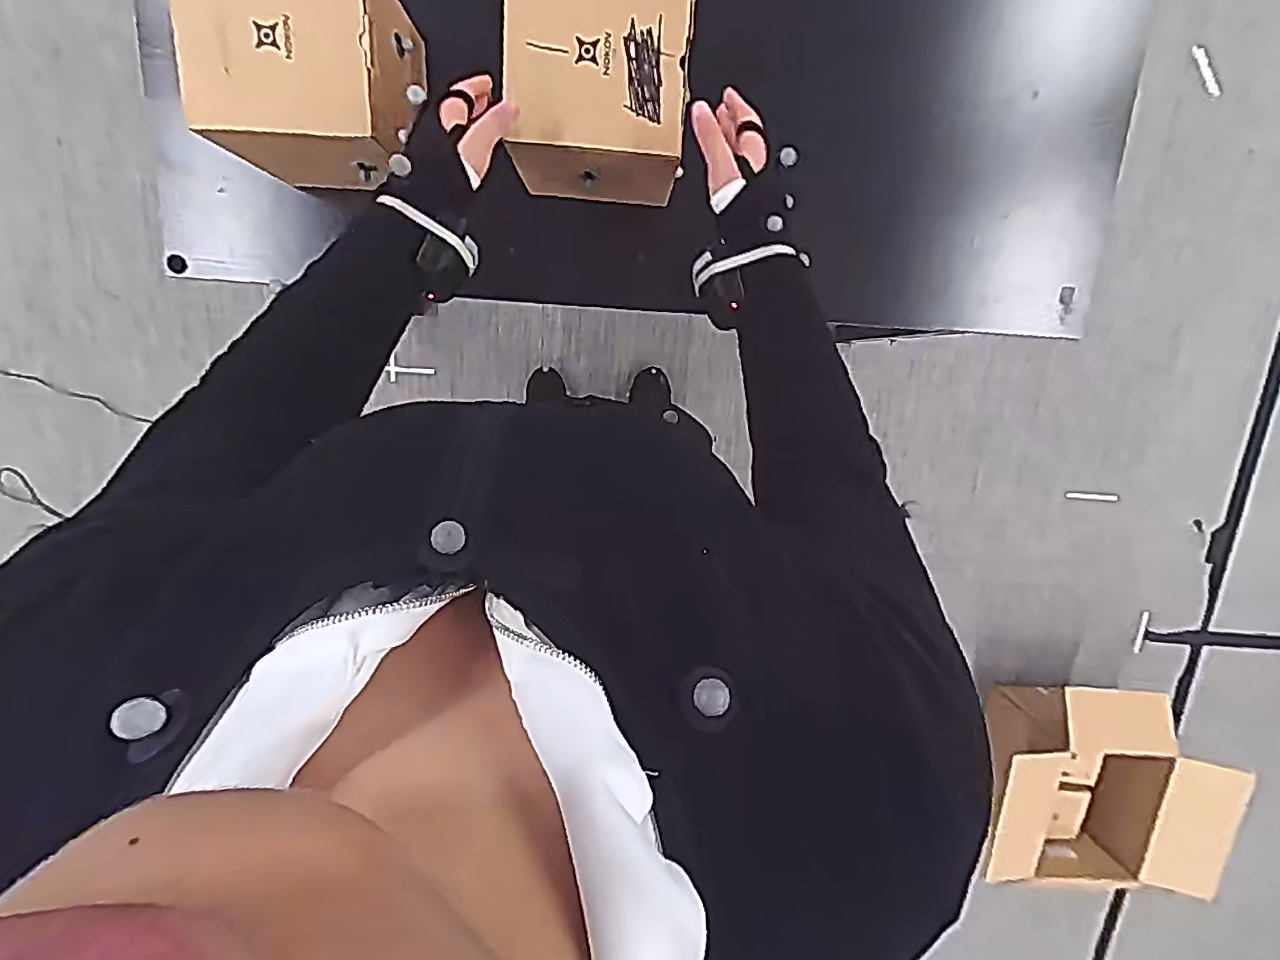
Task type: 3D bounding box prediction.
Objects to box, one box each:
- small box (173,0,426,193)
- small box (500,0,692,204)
[{"bbox_3d":[-0.341,-0.422,0.578,0.179,0.176,0.168,1,101,-2],"label":"small box"},{"bbox_3d":[-0.046,-0.415,0.589,0.179,0.176,0.168,4,102,-2],"label":"small box"}]
